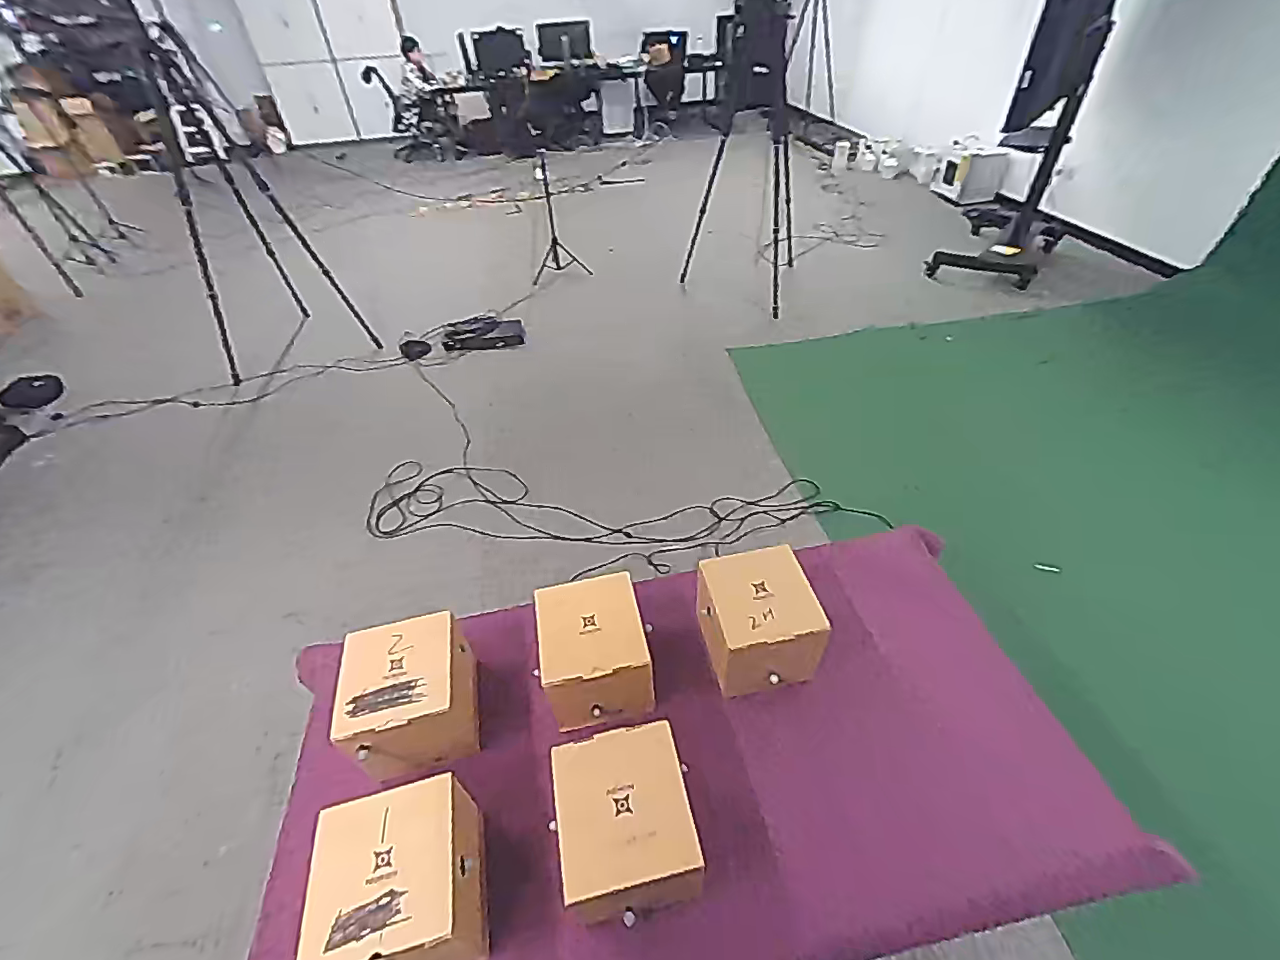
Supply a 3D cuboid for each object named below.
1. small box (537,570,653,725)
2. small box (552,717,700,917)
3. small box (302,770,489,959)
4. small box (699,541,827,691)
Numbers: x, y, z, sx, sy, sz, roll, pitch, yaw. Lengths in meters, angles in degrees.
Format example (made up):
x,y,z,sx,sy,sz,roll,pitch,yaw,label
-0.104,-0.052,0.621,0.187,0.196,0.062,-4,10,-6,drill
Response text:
x,y,z,sx,sy,sz,roll,pitch,yaw,label
-0.077,0.285,0.923,0.168,0.176,0.179,-11,45,-6,small box
-0.021,0.458,0.737,0.168,0.176,0.179,-11,44,-5,small box
-0.298,0.515,0.698,0.168,0.176,0.179,-13,42,-8,small box
0.200,0.237,0.943,0.168,0.176,0.179,-11,44,-5,small box
